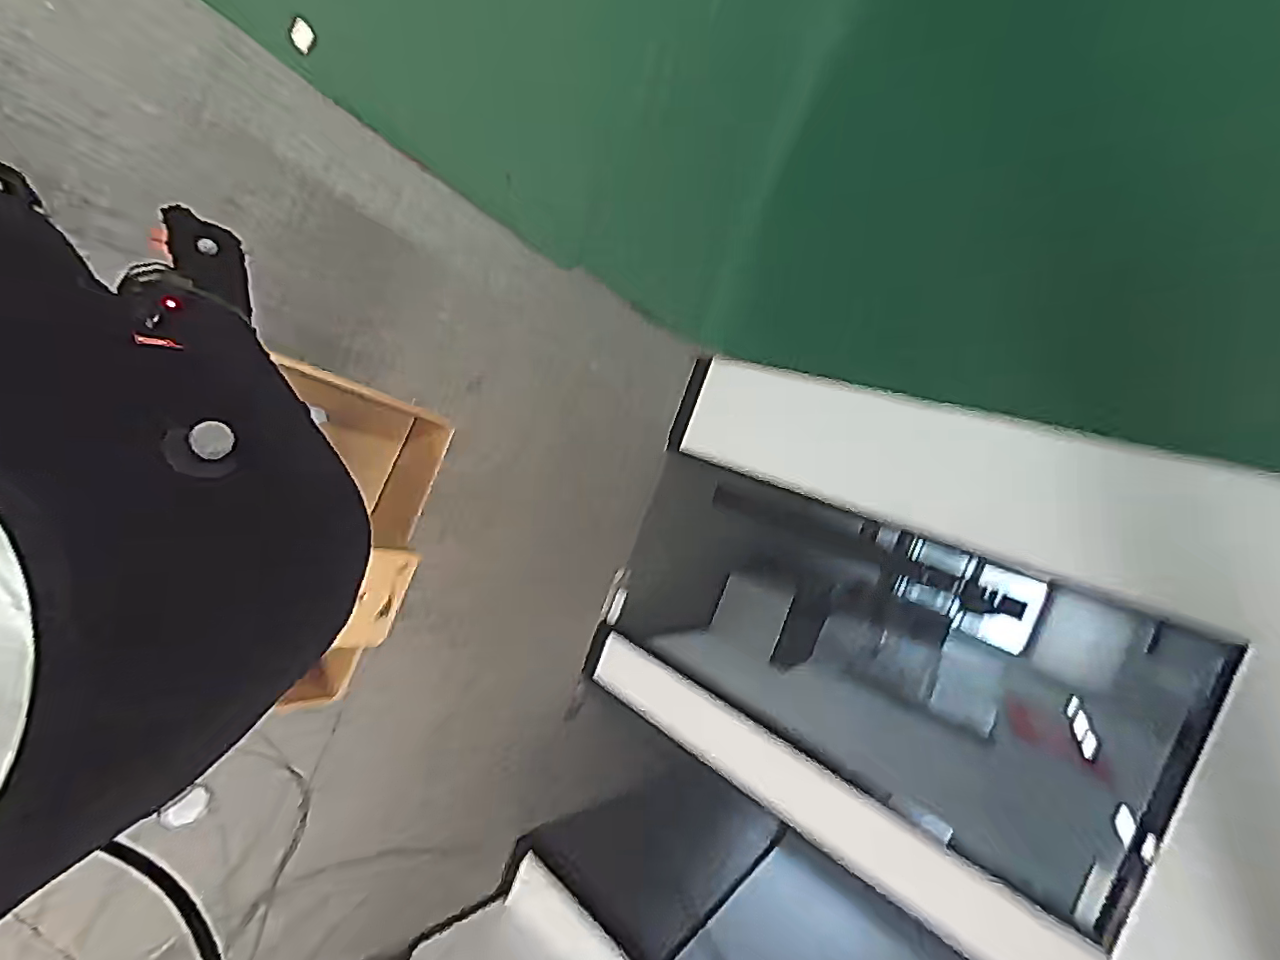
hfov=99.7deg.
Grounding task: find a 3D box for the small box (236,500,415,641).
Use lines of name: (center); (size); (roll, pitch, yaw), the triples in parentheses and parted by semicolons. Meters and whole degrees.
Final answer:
small box: (-0.510, 0.144, 0.873); (0.179, 0.176, 0.168); (22, 92, -55)
